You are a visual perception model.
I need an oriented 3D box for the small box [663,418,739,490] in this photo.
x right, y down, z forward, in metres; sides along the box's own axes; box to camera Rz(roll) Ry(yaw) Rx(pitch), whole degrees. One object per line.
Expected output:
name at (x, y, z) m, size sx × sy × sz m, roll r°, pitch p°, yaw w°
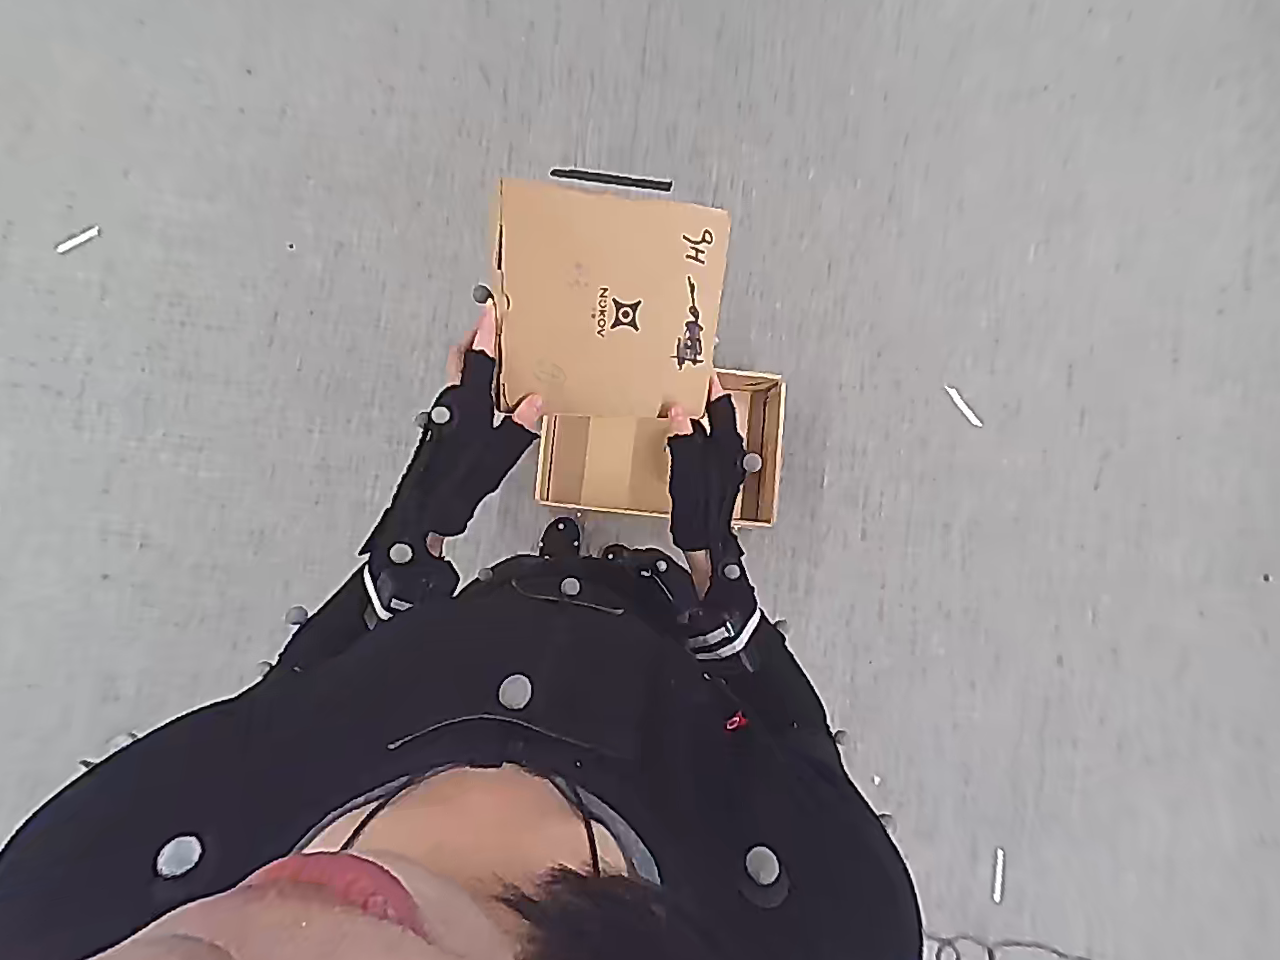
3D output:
small box at (0.157, -0.063, 1.438) m, size 0.179 × 0.176 × 0.168 m, roll 3°, pitch 84°, yaw -1°

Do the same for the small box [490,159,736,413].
small box at (-0.040, -0.161, 0.478) m, size 0.179 × 0.176 × 0.168 m, roll 1°, pitch 110°, yaw -17°
